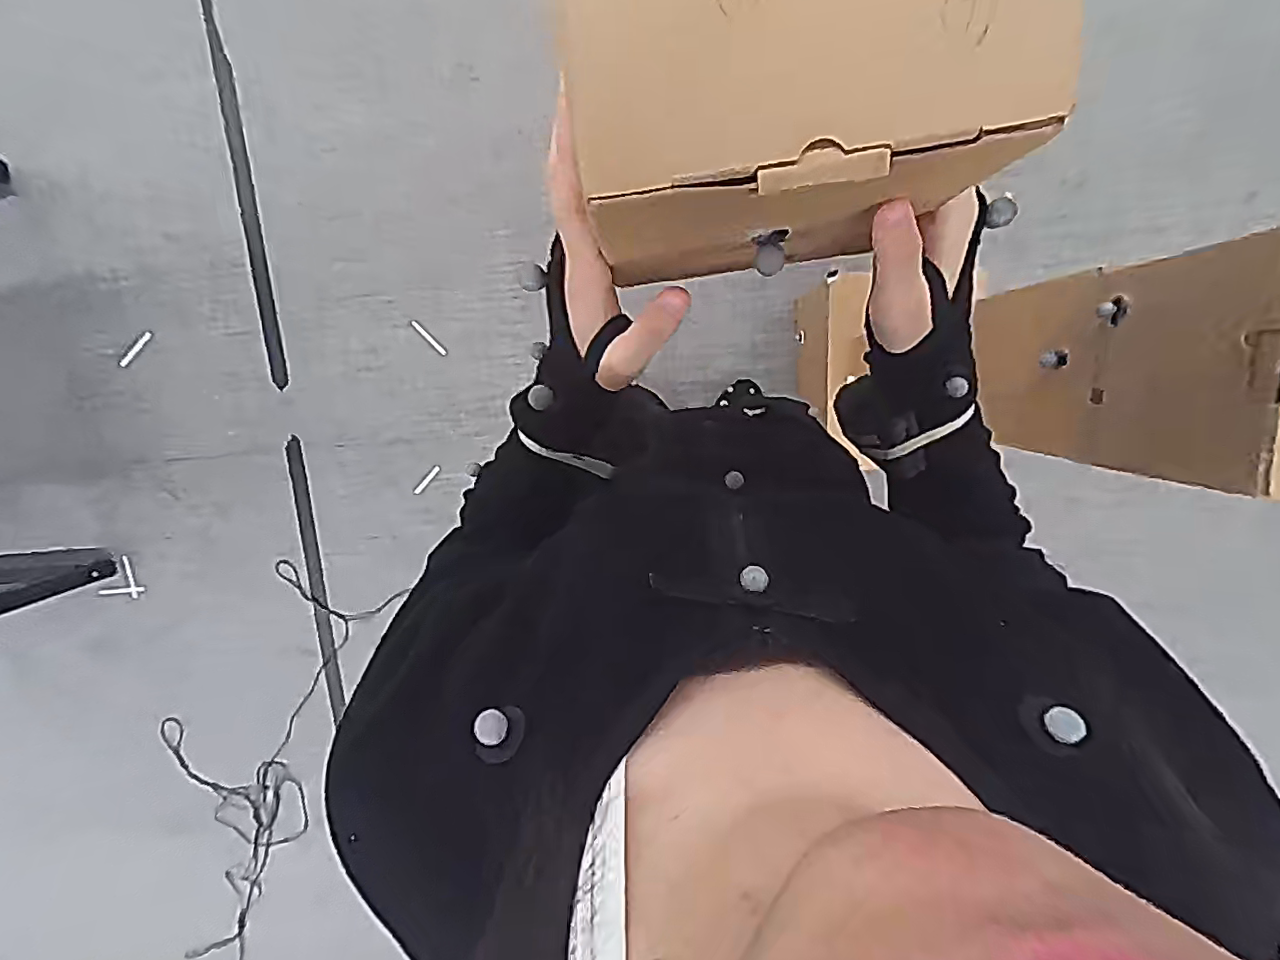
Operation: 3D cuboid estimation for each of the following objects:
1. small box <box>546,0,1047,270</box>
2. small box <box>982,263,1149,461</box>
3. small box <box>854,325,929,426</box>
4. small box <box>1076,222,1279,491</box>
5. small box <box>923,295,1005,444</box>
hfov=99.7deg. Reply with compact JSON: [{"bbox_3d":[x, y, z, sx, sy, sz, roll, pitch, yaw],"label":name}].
[{"bbox_3d":[0.050,-0.207,0.253,0.168,0.176,0.179,-7,99,3],"label":"small box"},{"bbox_3d":[0.484,-0.117,0.558,0.168,0.176,0.179,0,100,5],"label":"small box"},{"bbox_3d":[0.519,-0.201,1.040,0.168,0.176,0.179,-4,101,6],"label":"small box"},{"bbox_3d":[0.471,-0.085,0.397,0.179,0.176,0.168,0,100,5],"label":"small box"},{"bbox_3d":[0.496,-0.145,0.717,0.168,0.176,0.179,-1,100,5],"label":"small box"}]
